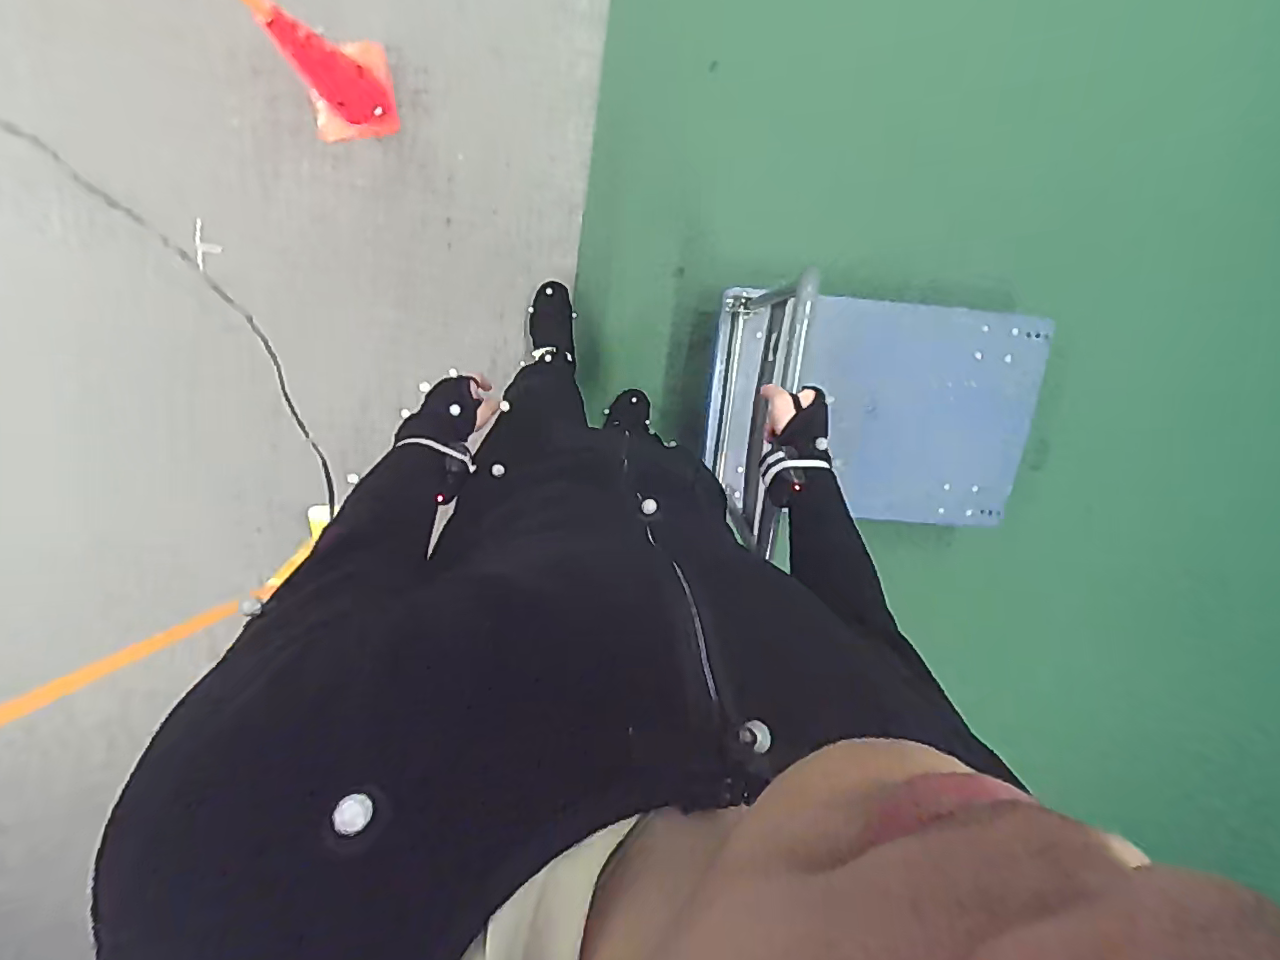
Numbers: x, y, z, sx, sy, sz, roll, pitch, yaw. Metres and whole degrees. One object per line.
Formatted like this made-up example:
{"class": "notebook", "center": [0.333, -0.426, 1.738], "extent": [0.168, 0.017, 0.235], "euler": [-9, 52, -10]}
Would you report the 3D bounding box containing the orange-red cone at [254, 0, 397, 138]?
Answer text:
{"class": "orange-red cone", "center": [-0.708, -0.923, 1.175], "extent": [0.198, 0.360, 0.199], "euler": [-6, 103, -1]}
